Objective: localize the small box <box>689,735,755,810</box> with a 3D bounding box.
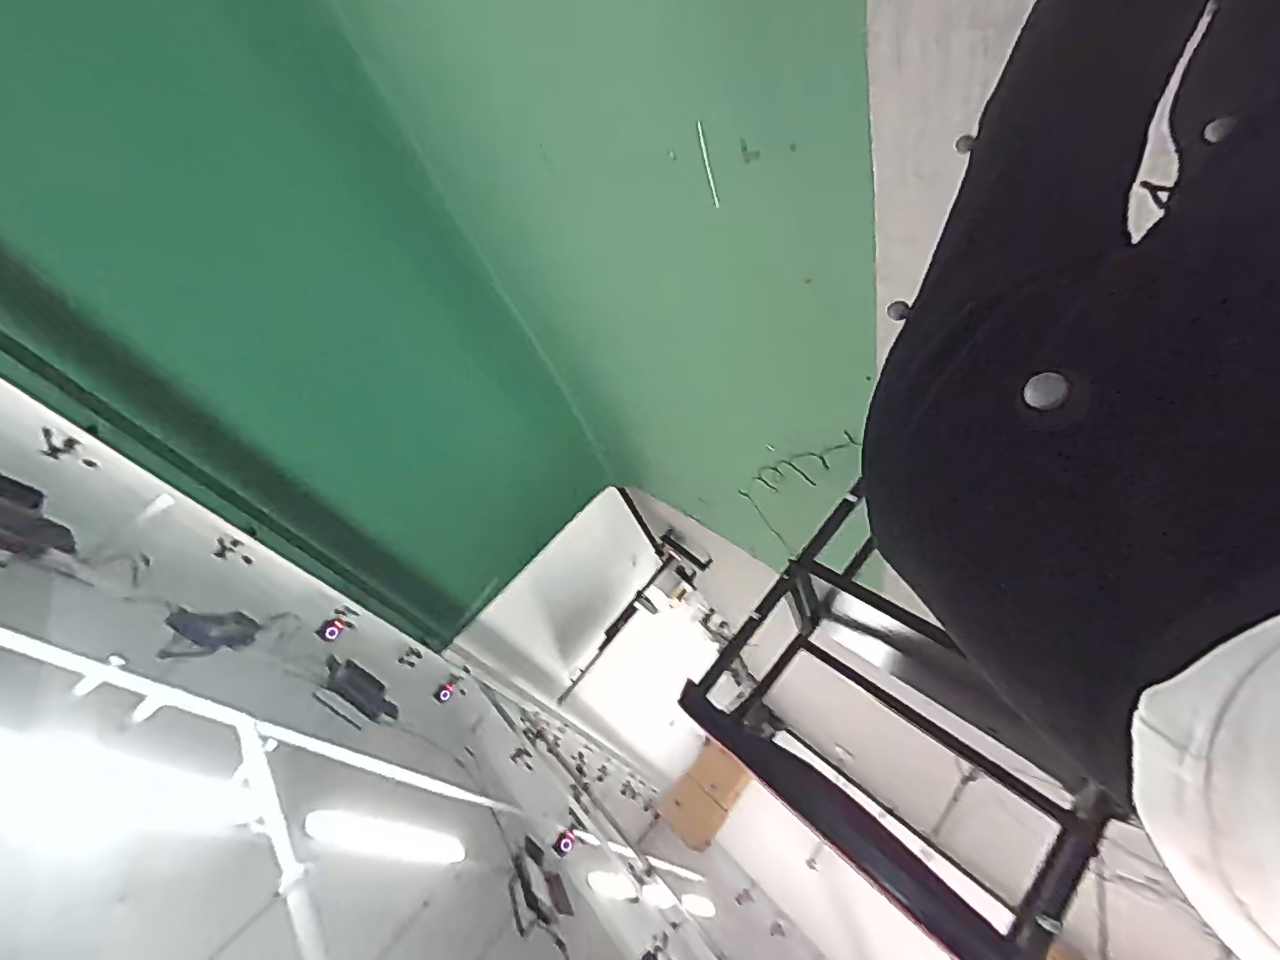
[{"bbox_3d":[0.313,1.089,2.017,0.168,0.176,0.179,30,159,36],"label":"small box"}]
